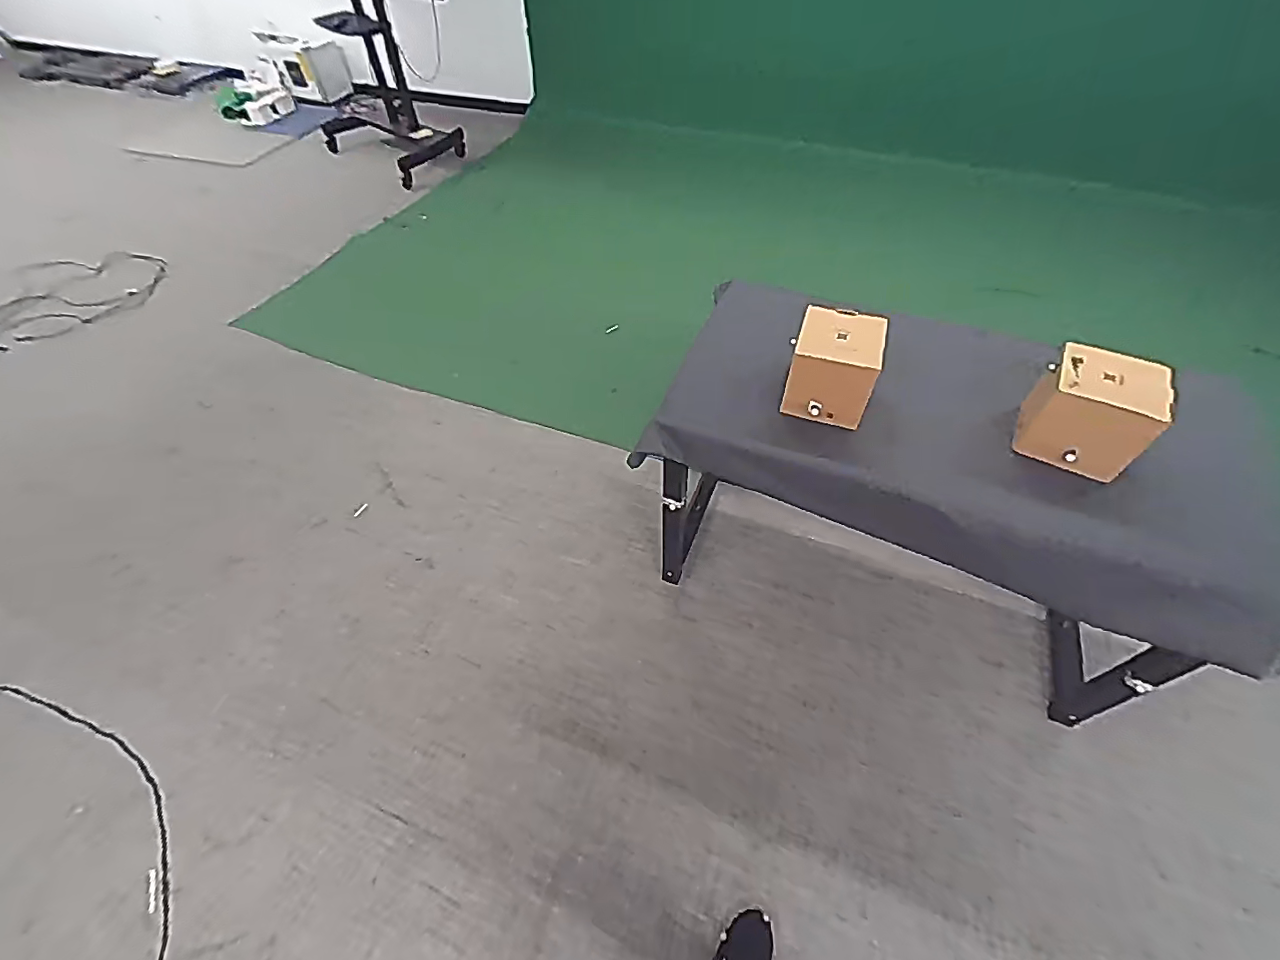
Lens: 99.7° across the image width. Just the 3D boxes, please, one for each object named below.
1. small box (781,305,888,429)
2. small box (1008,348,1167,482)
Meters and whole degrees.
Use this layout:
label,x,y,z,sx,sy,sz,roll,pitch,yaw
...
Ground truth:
label,x,y,z,sx,sy,sz,roll,pitch,yaw
small box,0.405,-0.238,1.138,0.168,0.176,0.179,16,53,16
small box,0.866,-0.121,1.054,0.179,0.176,0.168,25,56,19
